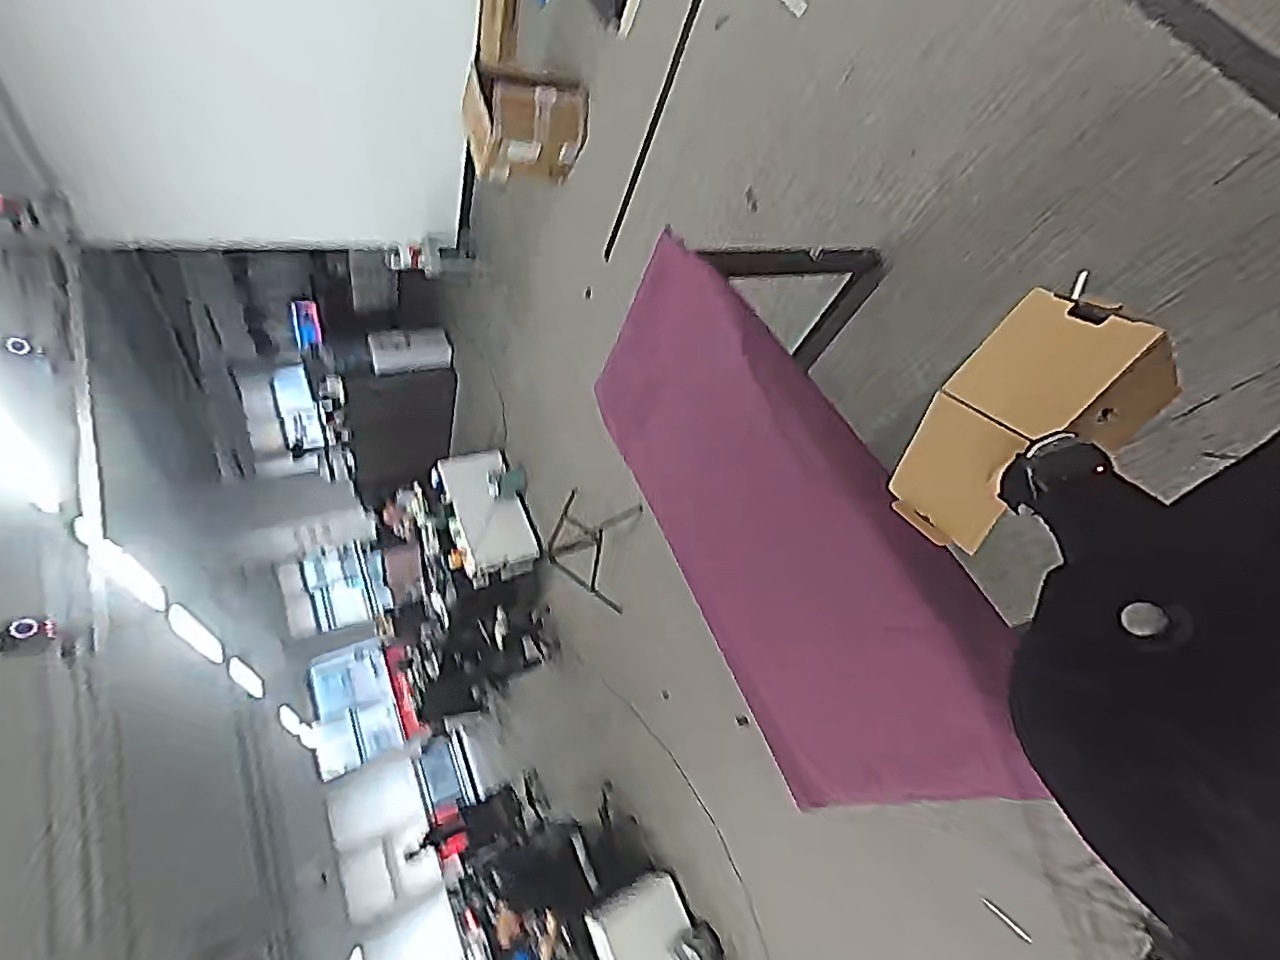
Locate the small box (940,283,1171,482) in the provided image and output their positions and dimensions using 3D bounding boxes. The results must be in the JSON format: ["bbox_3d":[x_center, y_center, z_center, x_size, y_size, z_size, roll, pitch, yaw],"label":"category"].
[{"bbox_3d":[0.557,-0.123,0.726,0.179,0.176,0.168,-52,41,16],"label":"small box"}]
